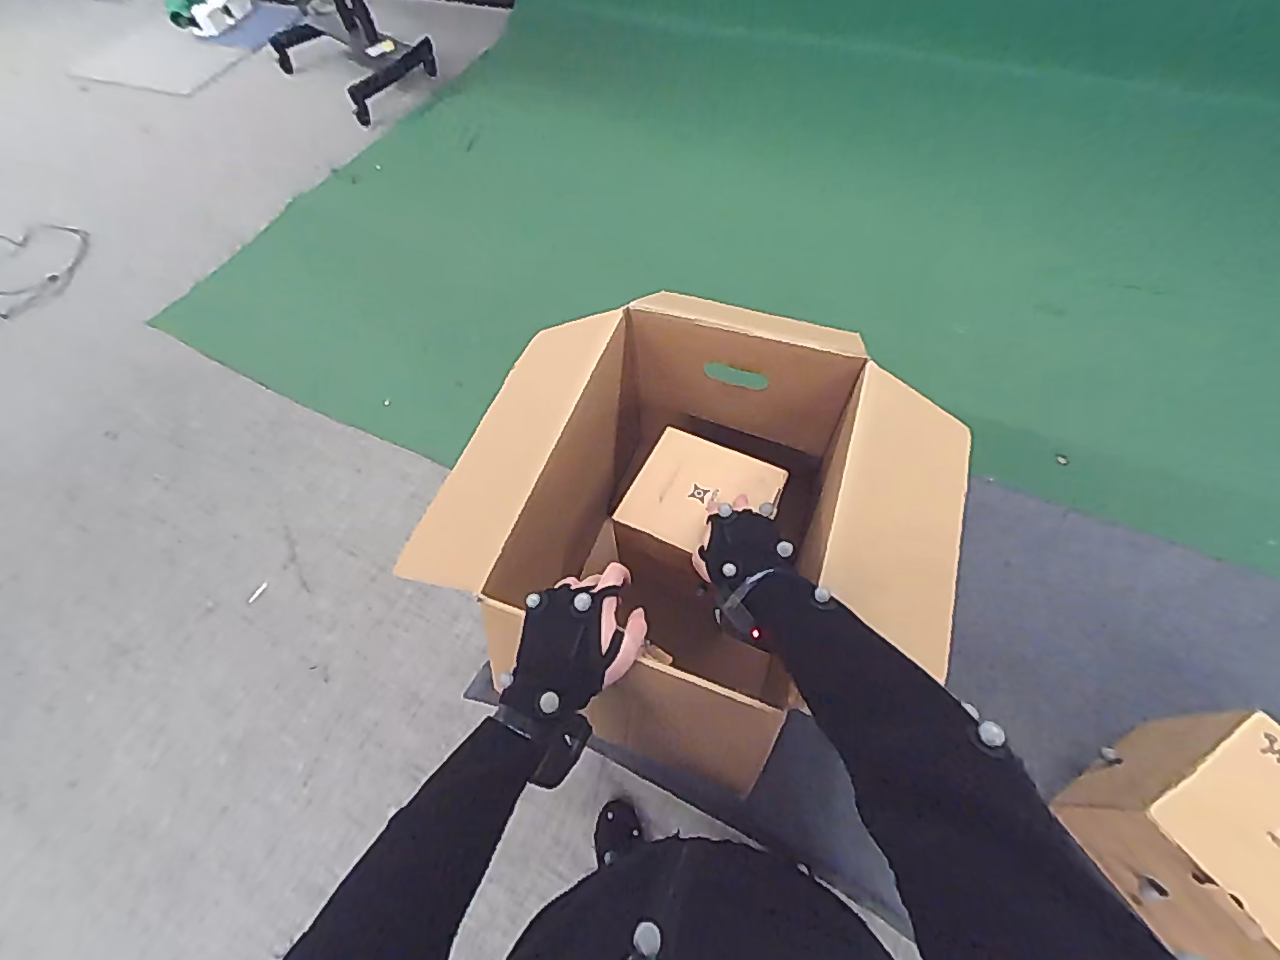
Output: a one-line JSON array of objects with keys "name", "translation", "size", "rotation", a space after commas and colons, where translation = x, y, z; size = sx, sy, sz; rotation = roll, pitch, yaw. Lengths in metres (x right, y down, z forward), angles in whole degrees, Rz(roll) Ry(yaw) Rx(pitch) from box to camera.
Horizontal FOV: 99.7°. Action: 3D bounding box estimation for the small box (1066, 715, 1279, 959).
[{"name": "small box", "translation": [0.601, 0.376, 0.564], "size": [0.179, 0.176, 0.168], "rotation": [-29, 62, -11]}]
